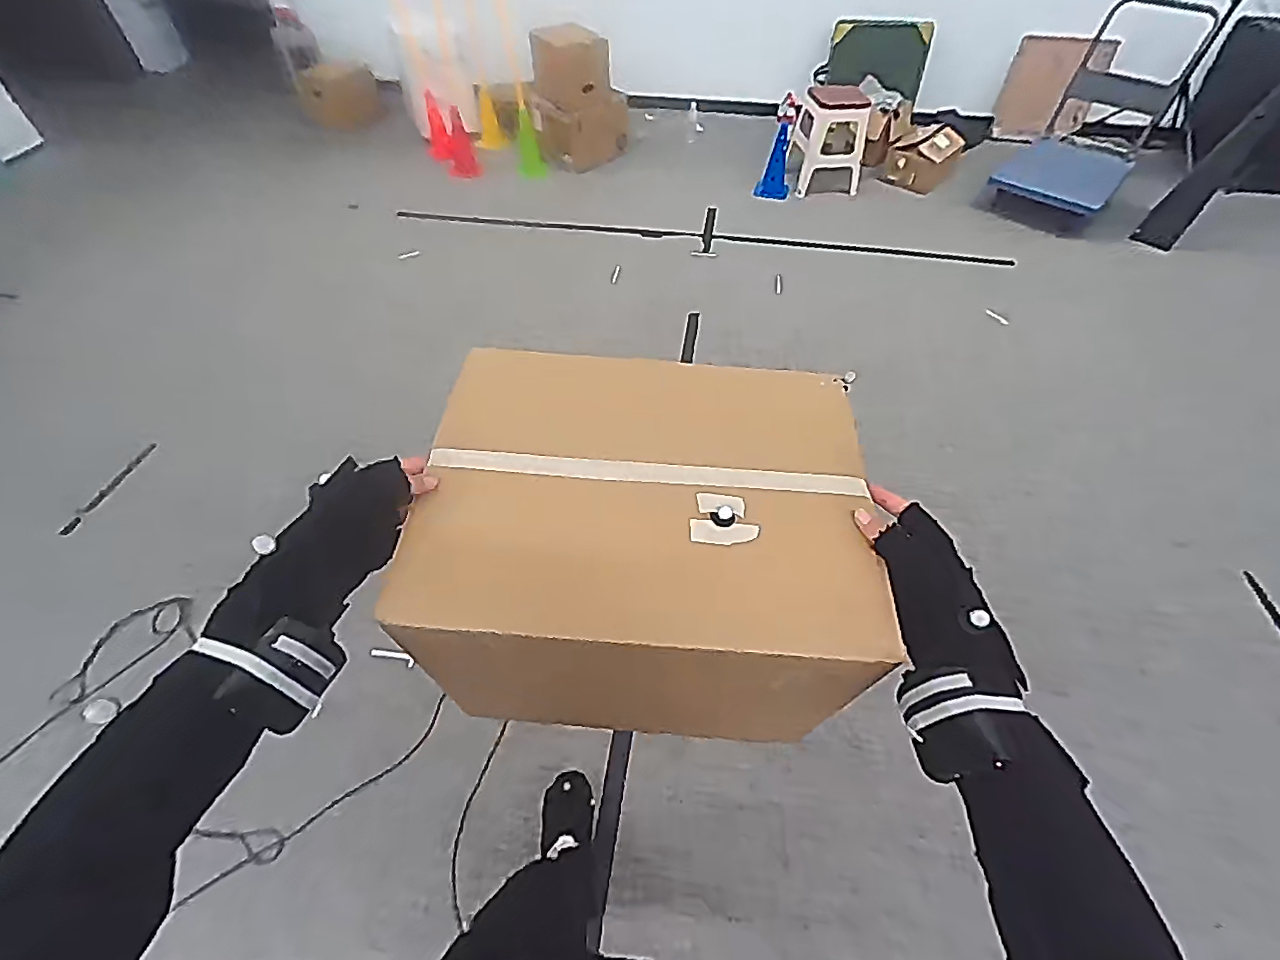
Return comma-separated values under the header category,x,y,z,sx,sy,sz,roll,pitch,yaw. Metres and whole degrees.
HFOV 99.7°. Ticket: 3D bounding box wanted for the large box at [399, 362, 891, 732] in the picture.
category,x,y,z,sx,sy,sz,roll,pitch,yaw
large box,0.004,0.090,0.636,0.408,0.320,0.320,4,54,0
